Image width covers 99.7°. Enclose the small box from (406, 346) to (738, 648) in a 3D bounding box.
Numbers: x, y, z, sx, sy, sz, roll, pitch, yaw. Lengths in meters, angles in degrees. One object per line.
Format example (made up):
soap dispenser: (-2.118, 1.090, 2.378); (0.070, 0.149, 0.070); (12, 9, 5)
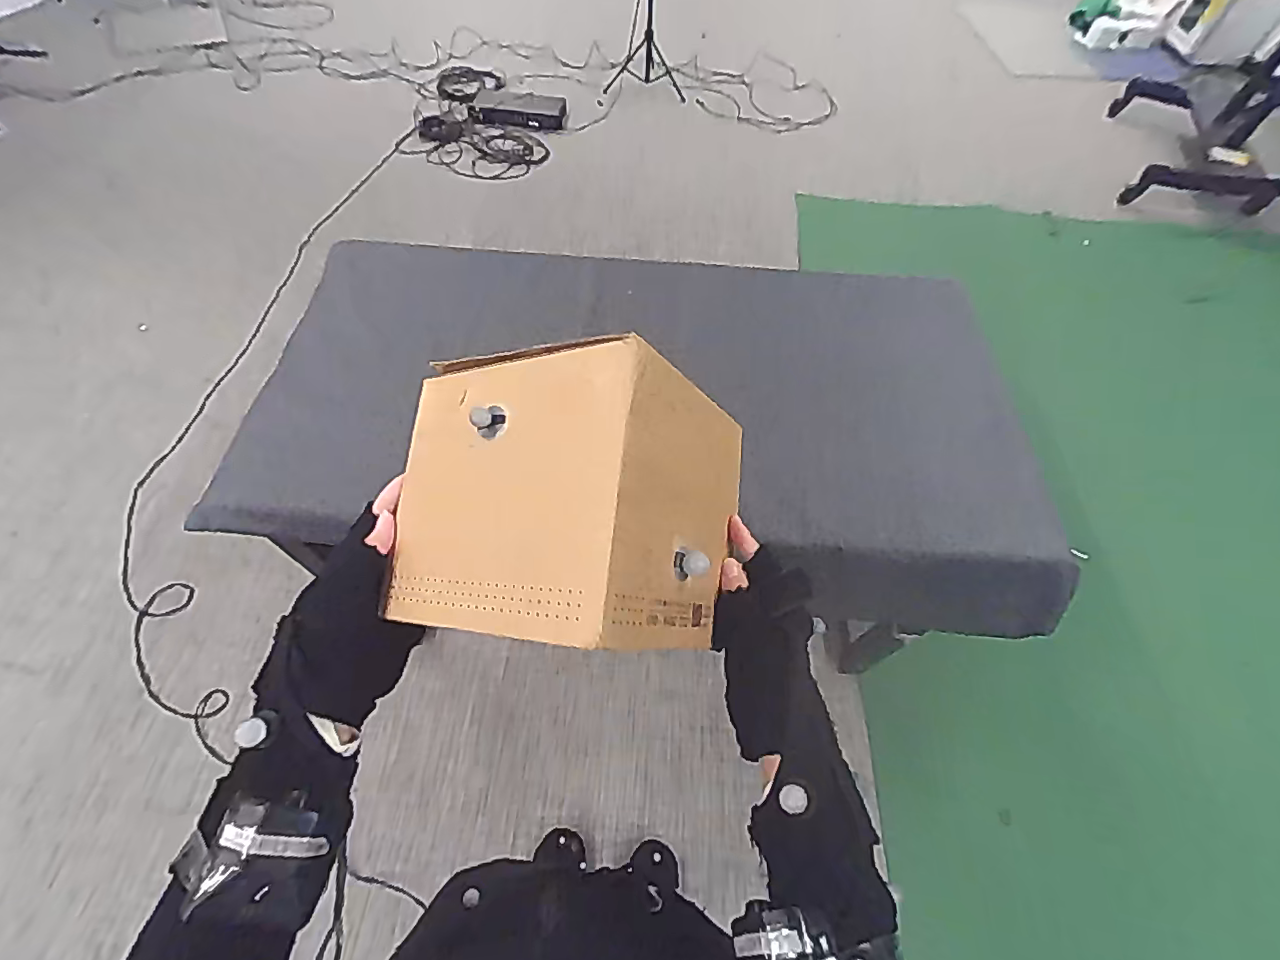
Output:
small box: (-0.043, 0.025, 0.398); (0.179, 0.168, 0.176); (-1, 76, 31)
